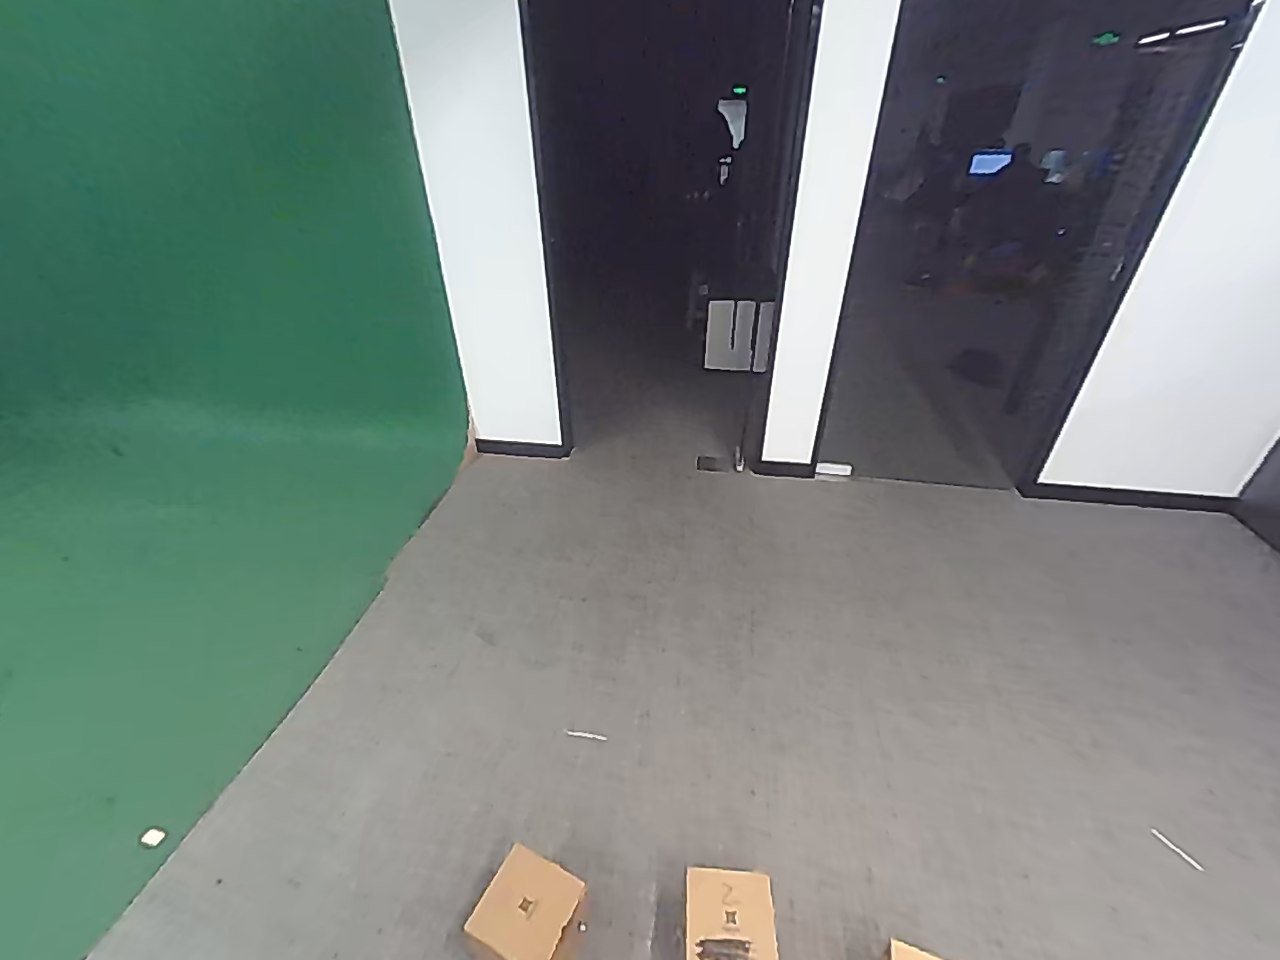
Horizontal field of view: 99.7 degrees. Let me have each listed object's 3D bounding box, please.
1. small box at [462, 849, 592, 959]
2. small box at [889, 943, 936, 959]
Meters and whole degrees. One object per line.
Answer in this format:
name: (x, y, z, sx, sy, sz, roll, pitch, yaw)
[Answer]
small box: (-0.208, 0.876, 1.054, 0.179, 0.176, 0.168, 10, 34, 23)
small box: (0.502, 0.961, 0.928, 0.168, 0.176, 0.179, 12, 35, 17)
